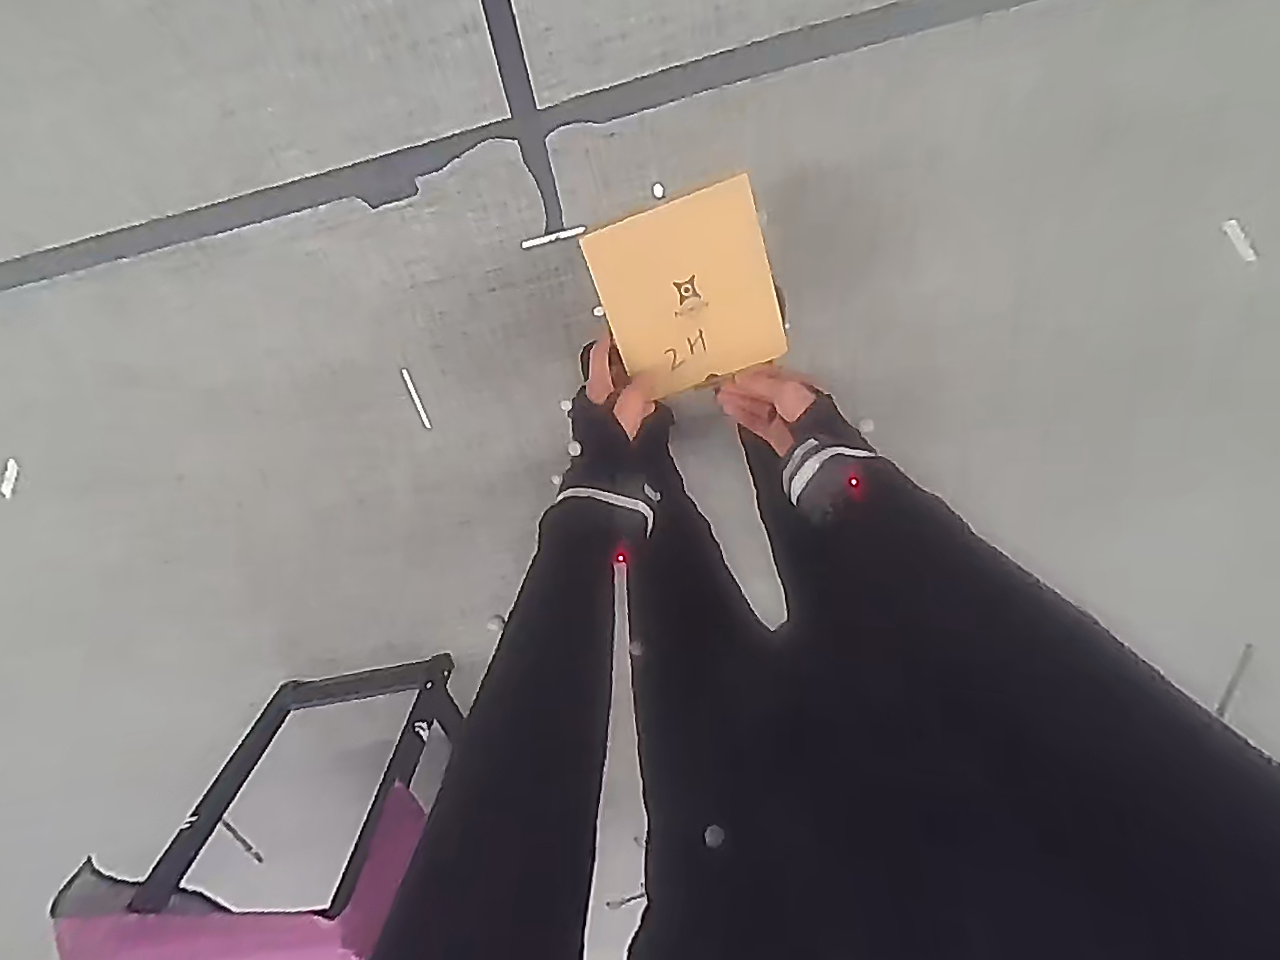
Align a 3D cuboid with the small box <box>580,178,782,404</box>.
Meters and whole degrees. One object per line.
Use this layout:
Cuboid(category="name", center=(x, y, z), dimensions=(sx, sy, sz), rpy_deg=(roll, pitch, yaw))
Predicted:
Cuboid(category="small box", center=(0.043, -0.214, 0.604), dimensions=(0.168, 0.176, 0.179), rpy_deg=(-17, 119, 9))
